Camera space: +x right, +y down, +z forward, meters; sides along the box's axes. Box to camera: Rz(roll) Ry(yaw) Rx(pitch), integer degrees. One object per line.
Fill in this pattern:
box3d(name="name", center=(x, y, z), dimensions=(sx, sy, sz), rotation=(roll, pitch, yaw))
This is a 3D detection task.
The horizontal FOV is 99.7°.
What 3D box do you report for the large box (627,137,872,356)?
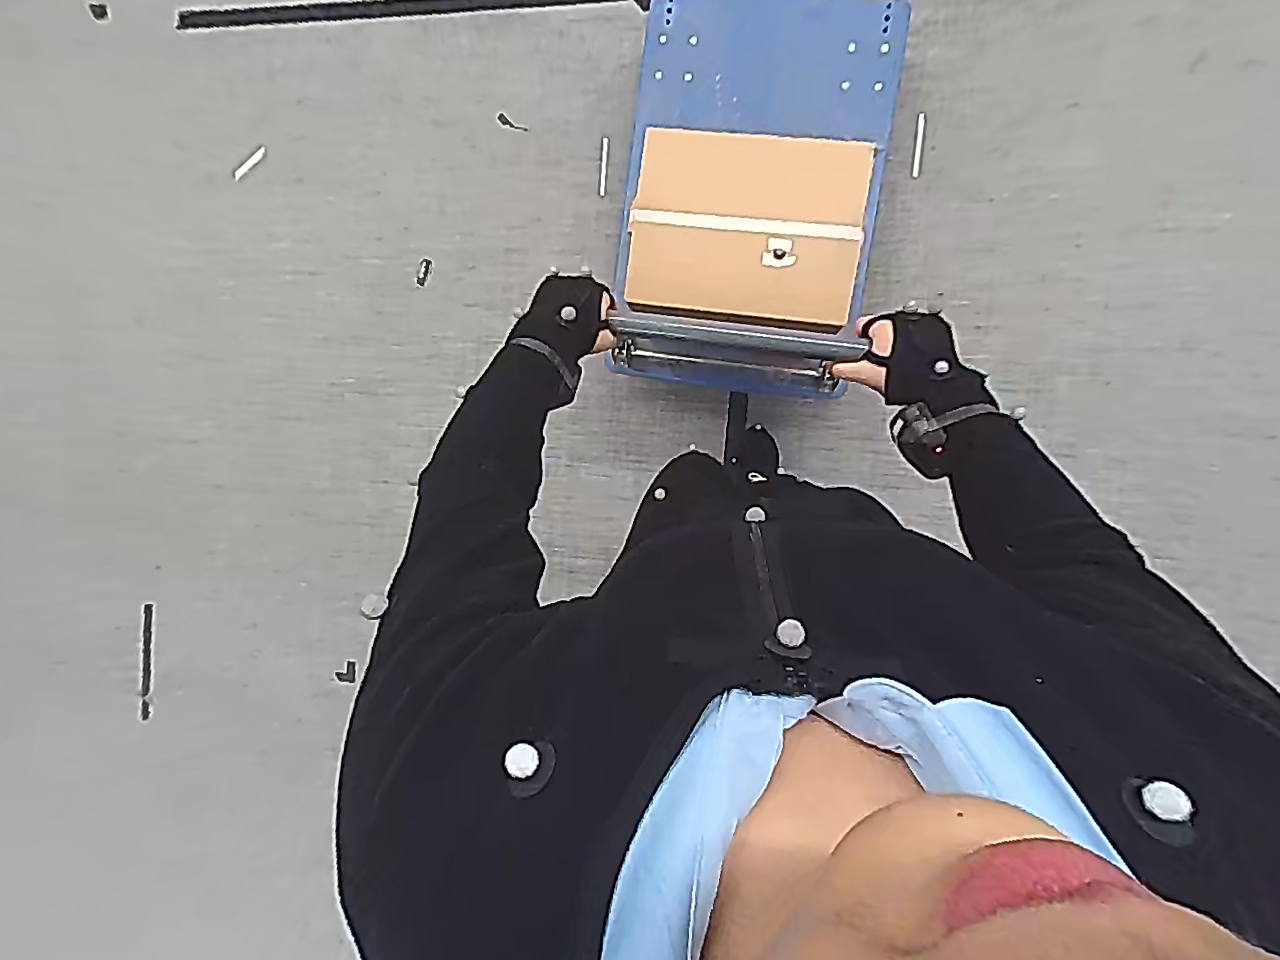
box3d(name="large box", center=(0.203, -0.450, 1.106), dimensions=(0.408, 0.320, 0.320), rotation=(8, 95, 6))
